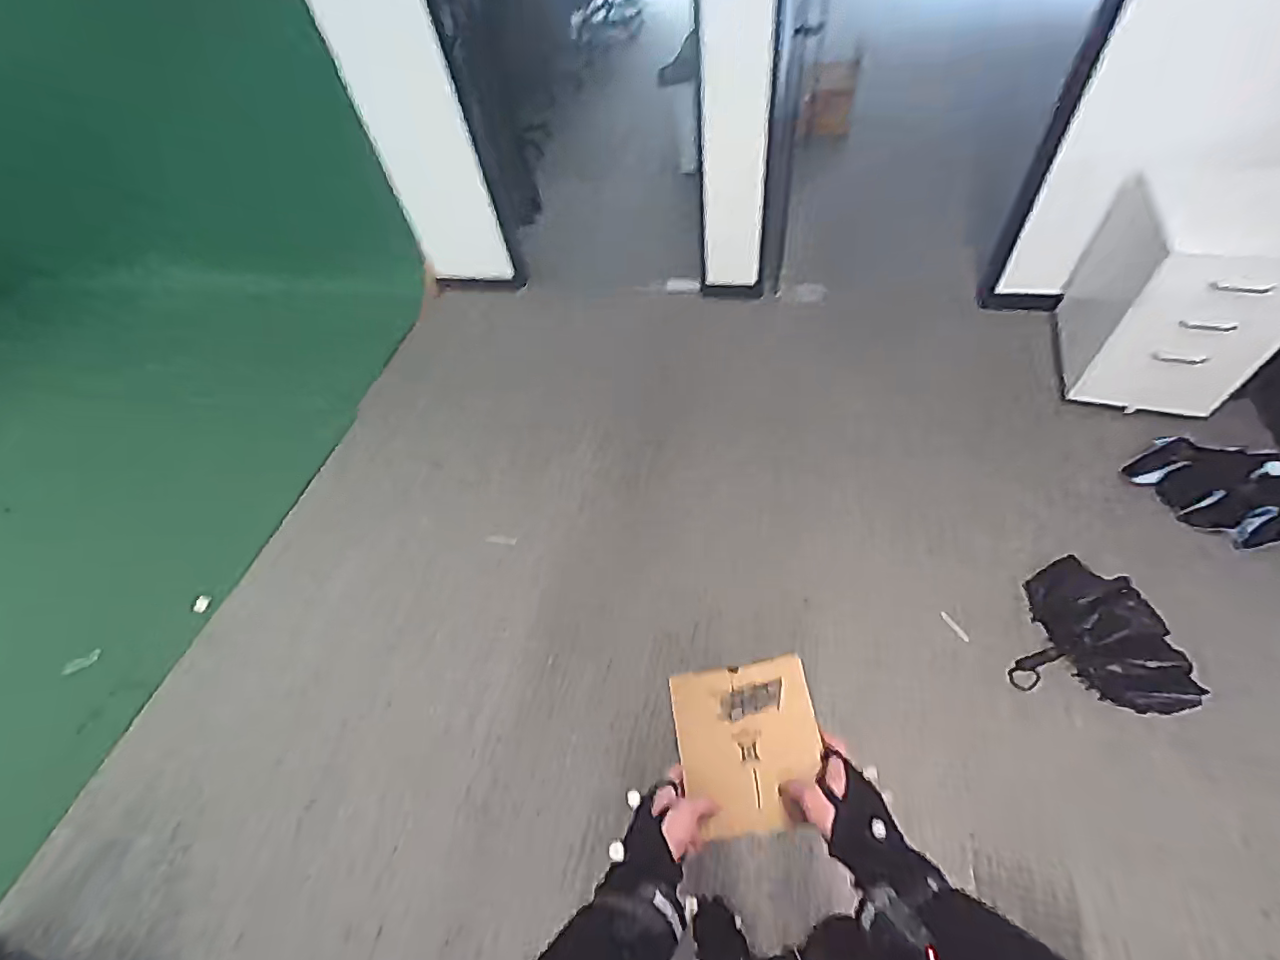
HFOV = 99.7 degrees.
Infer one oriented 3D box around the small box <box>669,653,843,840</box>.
[{"bbox_3d":[0.137,0.333,0.679,0.168,0.176,0.179,-12,61,6],"label":"small box"}]
